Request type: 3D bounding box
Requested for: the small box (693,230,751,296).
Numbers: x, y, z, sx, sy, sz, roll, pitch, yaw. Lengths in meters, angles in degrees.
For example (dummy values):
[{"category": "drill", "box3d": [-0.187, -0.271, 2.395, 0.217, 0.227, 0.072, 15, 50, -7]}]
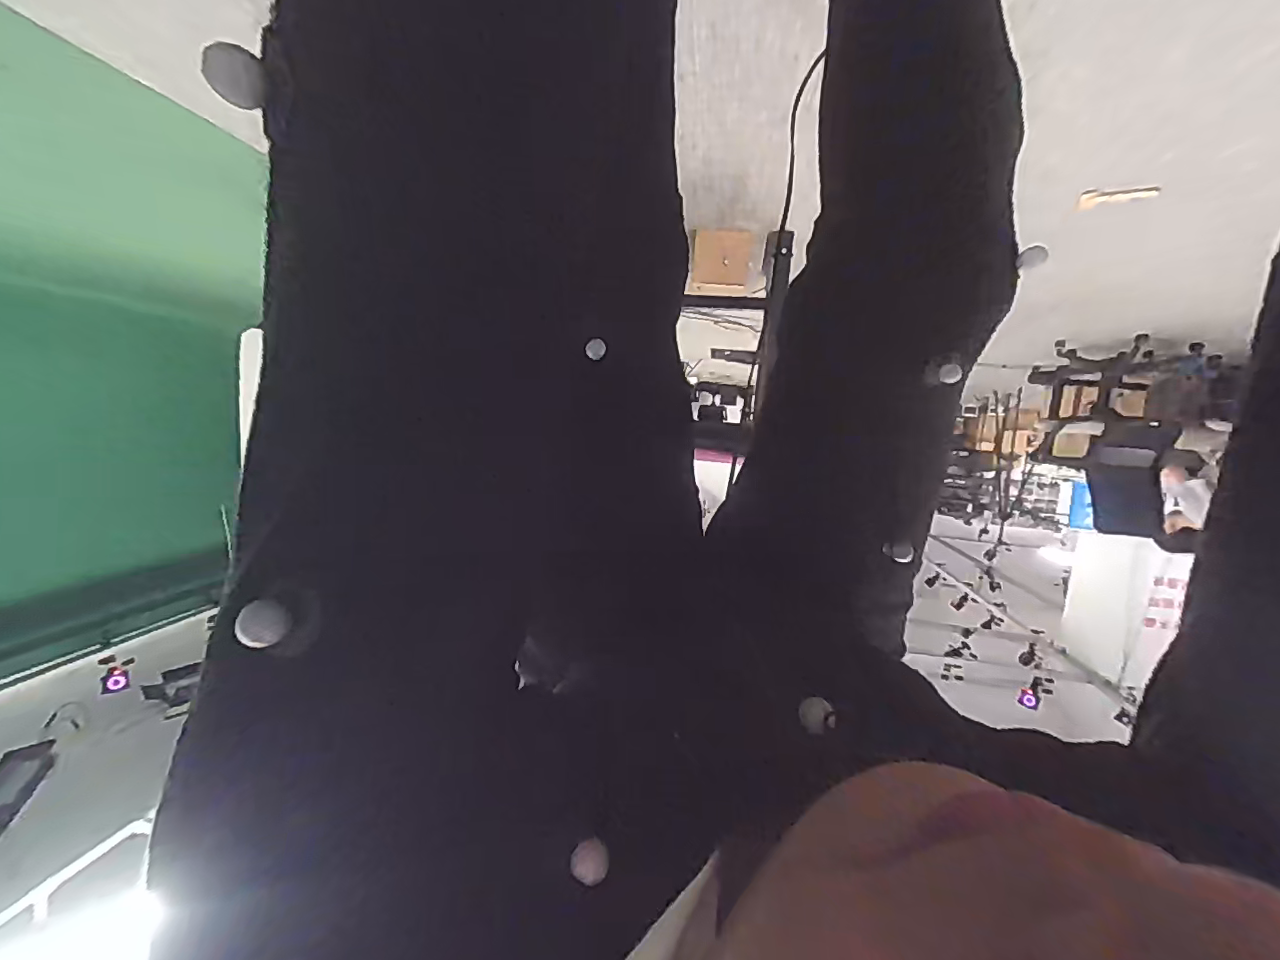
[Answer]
[{"category": "small box", "box3d": [0.266, -0.709, 1.774, 0.179, 0.176, 0.168, 5, -173, 6]}]
